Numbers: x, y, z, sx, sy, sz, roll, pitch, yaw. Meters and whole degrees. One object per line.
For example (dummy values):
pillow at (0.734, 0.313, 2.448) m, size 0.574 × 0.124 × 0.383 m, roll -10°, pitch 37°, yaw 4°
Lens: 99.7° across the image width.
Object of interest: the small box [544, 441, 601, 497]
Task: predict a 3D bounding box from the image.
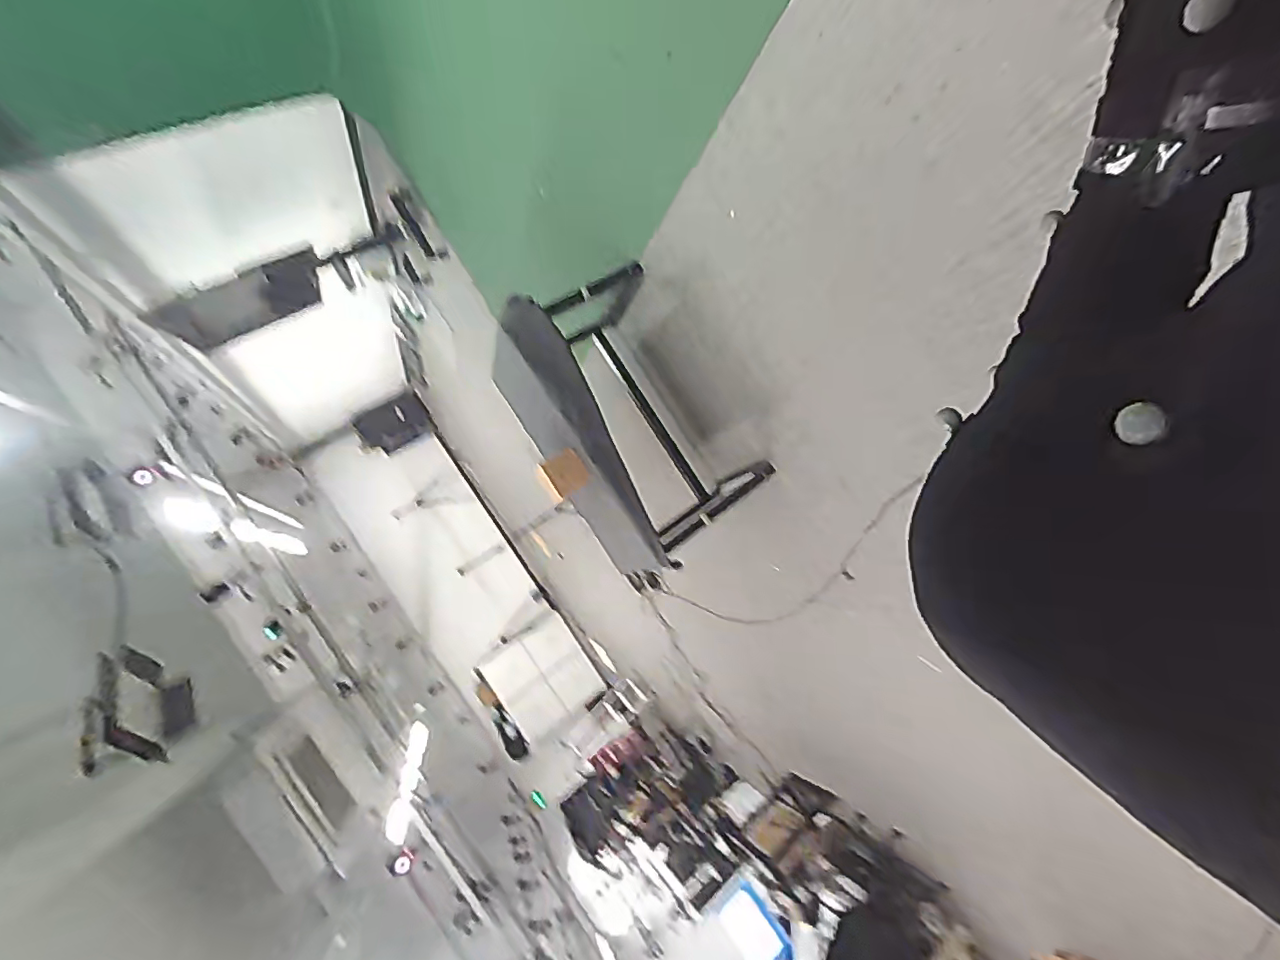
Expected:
small box at (-0.292, -0.049, 2.370) m, size 0.179 × 0.176 × 0.168 m, roll 58°, pitch 159°, yaw -2°
